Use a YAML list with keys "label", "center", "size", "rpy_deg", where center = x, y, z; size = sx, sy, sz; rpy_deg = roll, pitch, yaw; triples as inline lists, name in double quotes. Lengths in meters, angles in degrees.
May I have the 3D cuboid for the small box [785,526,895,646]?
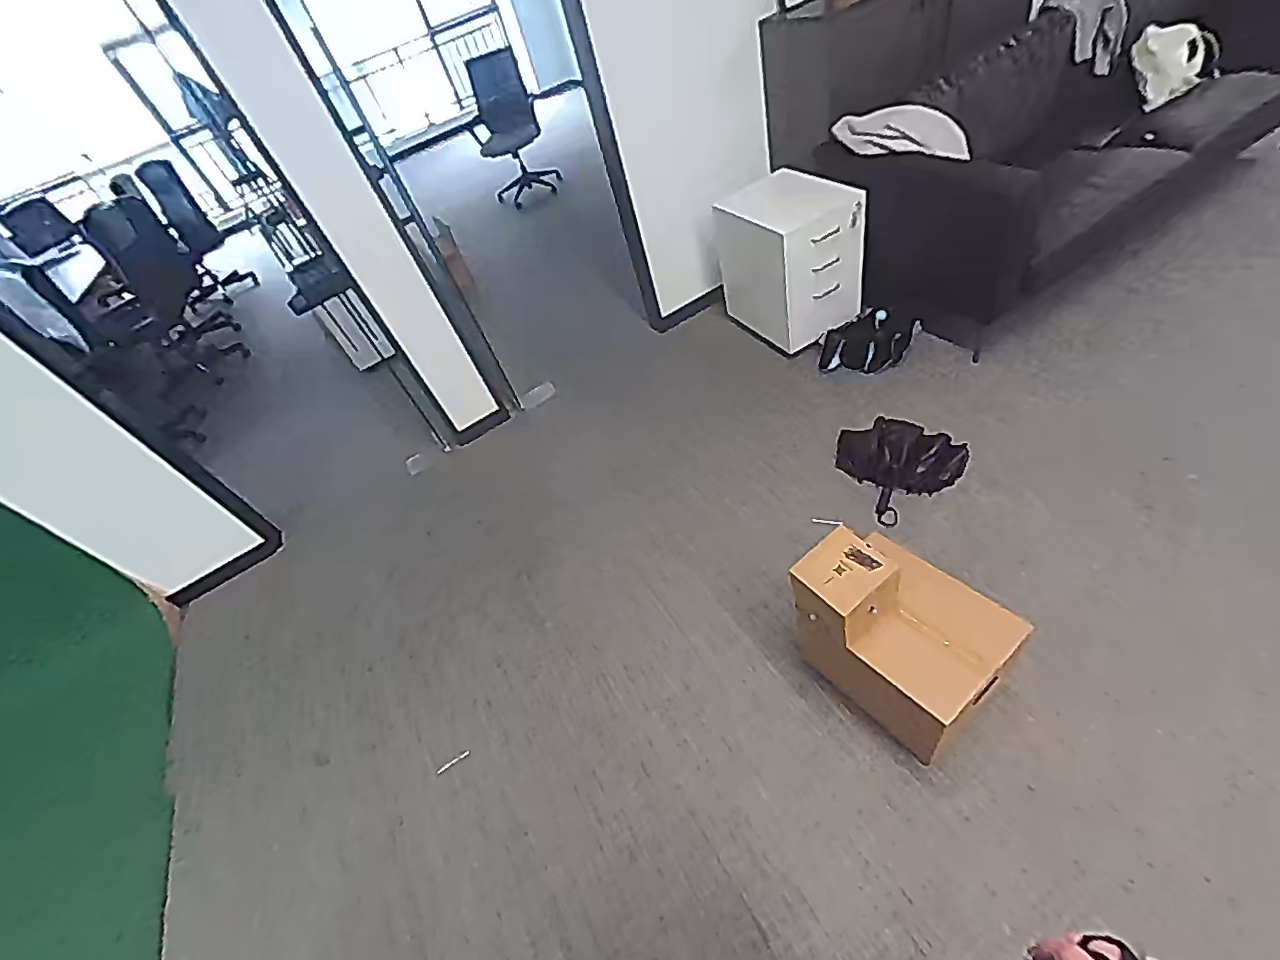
- label: "small box"
  center: [0.462, 0.248, 1.258]
  size: [0.179, 0.176, 0.168]
  rpy_deg: [-37, 47, -11]
